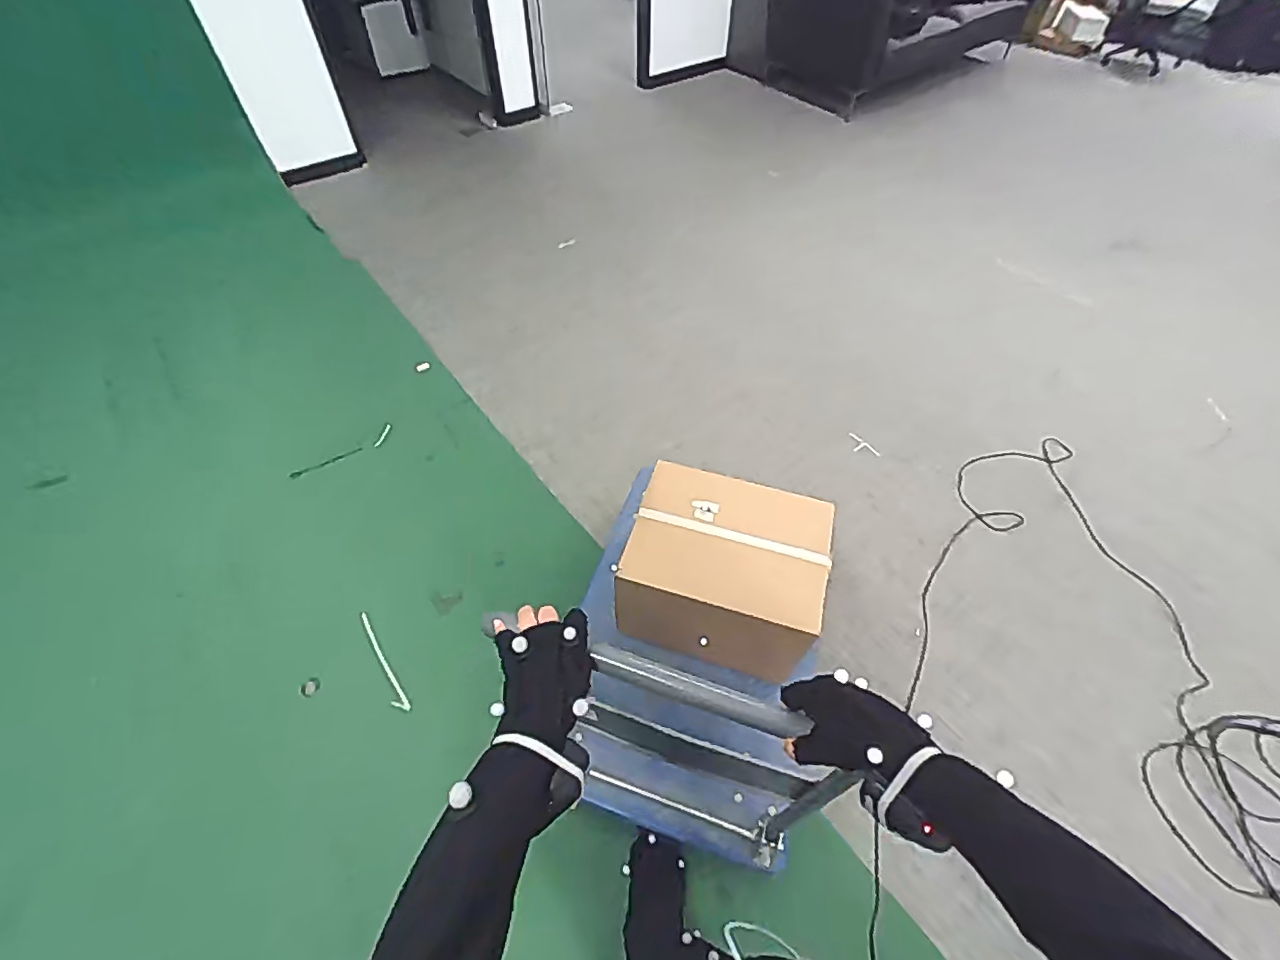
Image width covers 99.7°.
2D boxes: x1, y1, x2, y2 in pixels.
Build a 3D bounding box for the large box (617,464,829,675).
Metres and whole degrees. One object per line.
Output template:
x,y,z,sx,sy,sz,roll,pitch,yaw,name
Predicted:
0.187,0.210,1.251,0.408,0.320,0.320,14,54,10,large box
